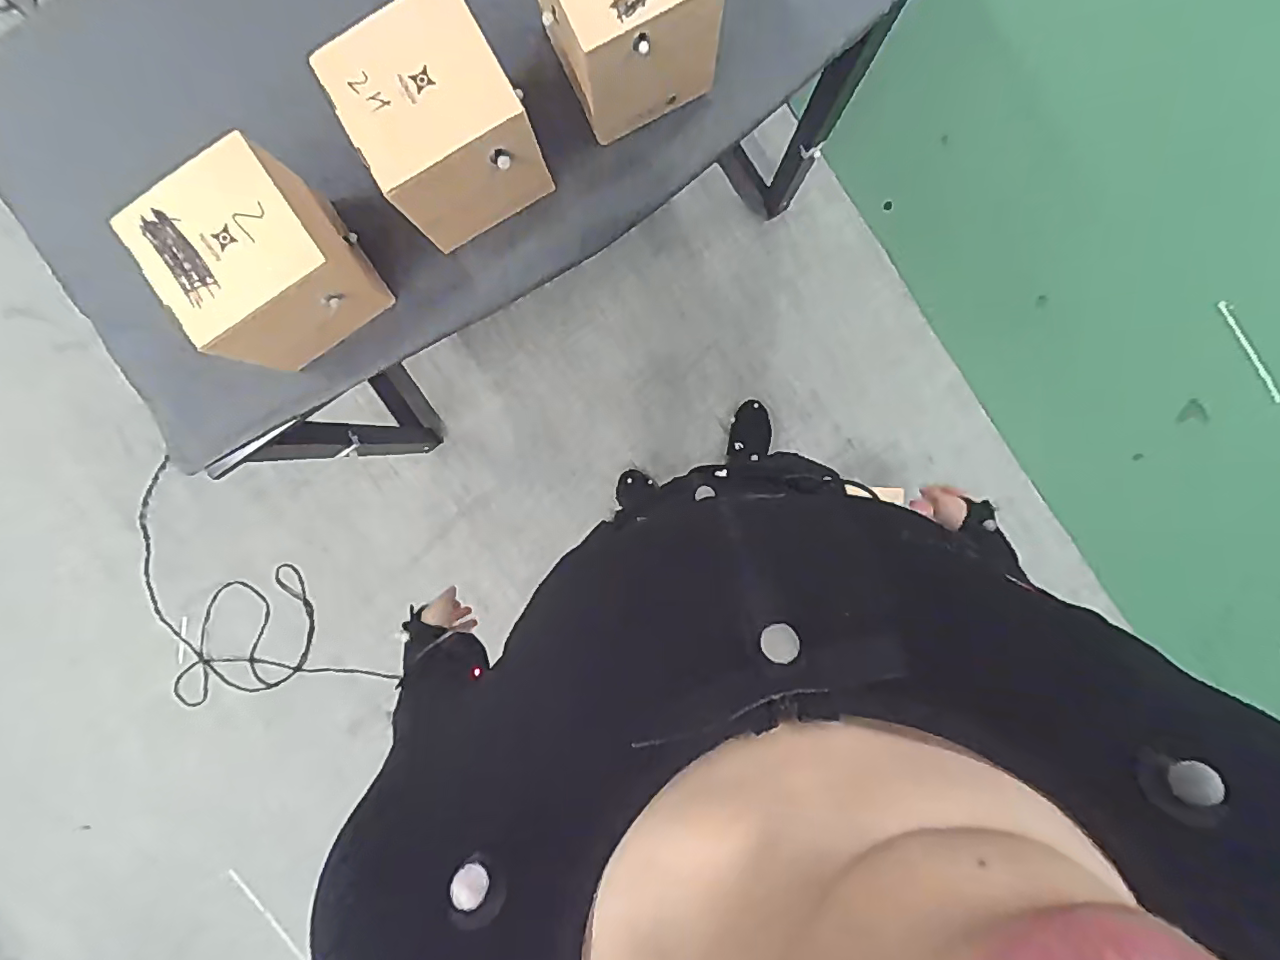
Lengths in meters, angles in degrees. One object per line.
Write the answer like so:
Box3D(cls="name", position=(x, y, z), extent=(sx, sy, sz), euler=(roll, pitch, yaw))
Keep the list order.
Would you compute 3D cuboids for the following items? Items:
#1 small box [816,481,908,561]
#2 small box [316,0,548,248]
Box3D(cls="small box", position=(0.563, 0.099, 1.392), extent=(0.168, 0.176, 0.179), euler=(5, 93, 1))
Box3D(cls="small box", position=(-0.225, -0.414, 0.643), extent=(0.179, 0.176, 0.168), euler=(-29, 91, 4))
